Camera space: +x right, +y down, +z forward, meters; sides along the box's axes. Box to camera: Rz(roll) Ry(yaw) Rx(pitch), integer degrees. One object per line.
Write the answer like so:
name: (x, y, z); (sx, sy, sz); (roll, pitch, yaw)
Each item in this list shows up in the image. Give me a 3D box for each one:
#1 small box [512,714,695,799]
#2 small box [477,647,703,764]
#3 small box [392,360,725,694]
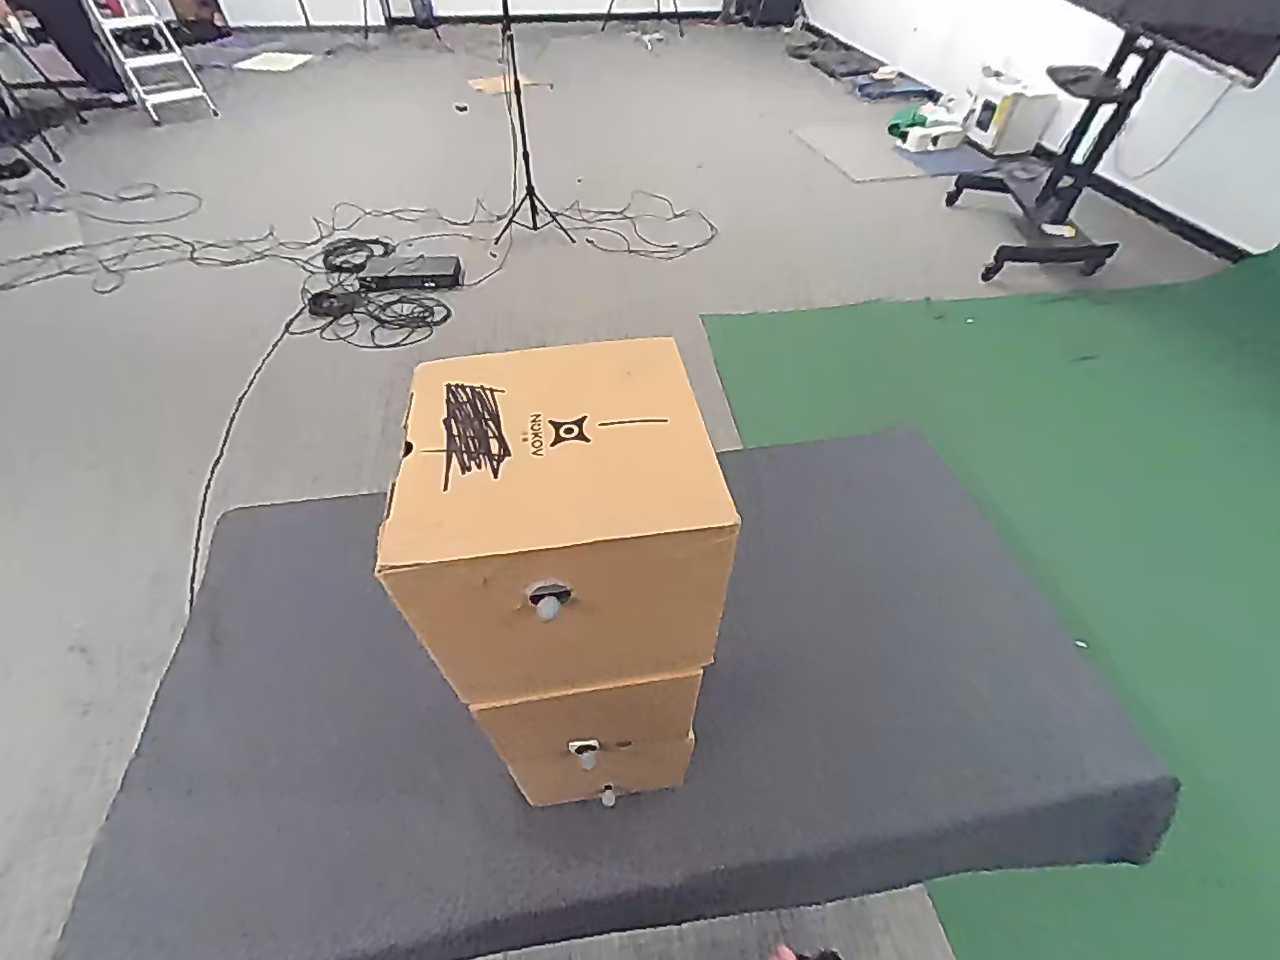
small box: (-0.045, 0.245, 0.618); (0.179, 0.176, 0.168); (-5, 48, -6)
small box: (-0.047, 0.135, 0.499); (0.168, 0.176, 0.179); (-8, 50, -6)
small box: (-0.049, 0.038, 0.388); (0.179, 0.176, 0.168); (-7, 49, -6)
